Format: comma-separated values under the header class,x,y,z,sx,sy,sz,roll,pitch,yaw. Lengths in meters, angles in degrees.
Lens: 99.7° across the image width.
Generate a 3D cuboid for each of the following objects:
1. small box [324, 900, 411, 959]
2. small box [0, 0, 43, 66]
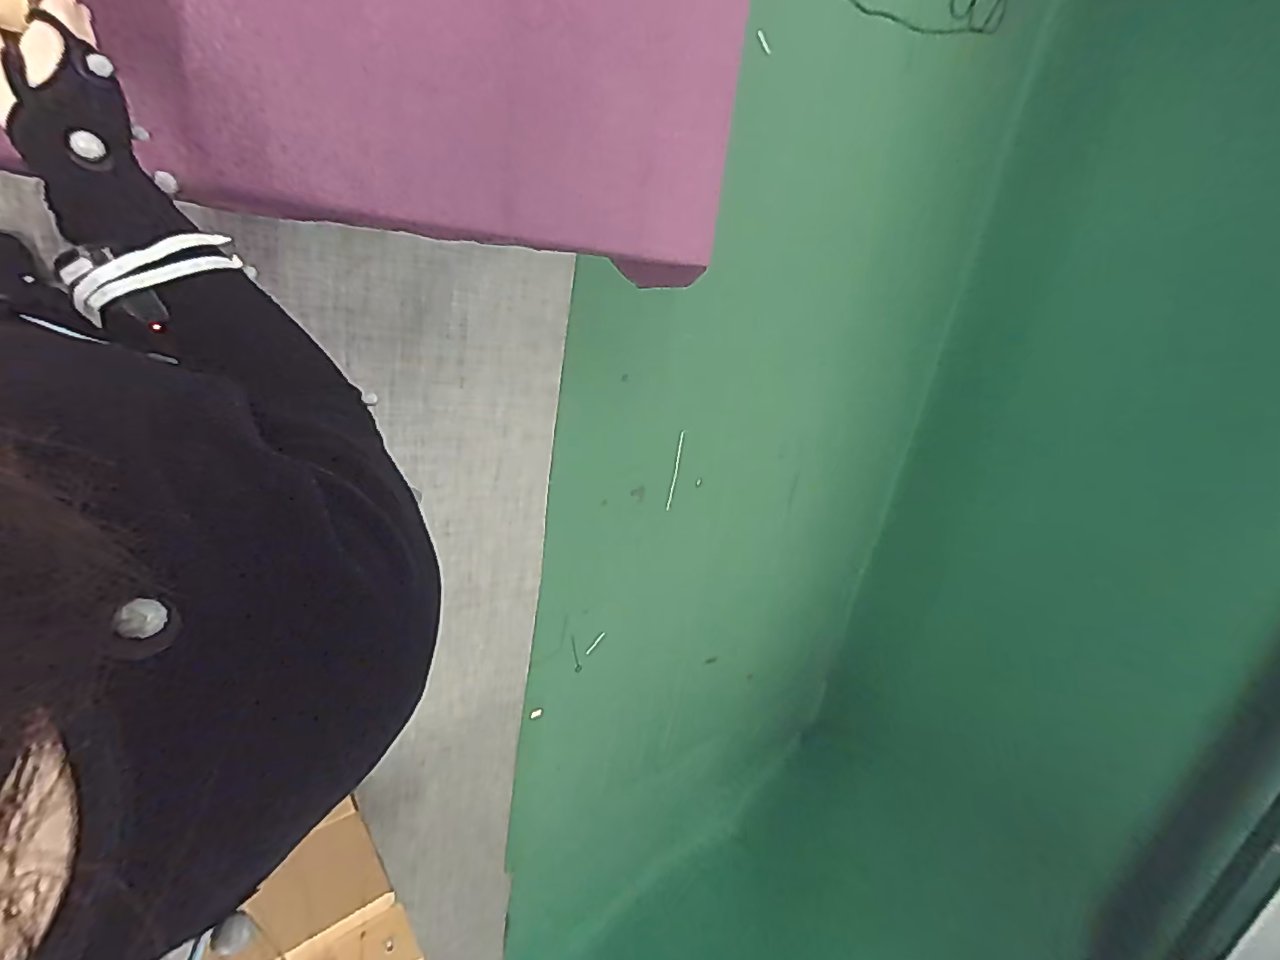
class,x,y,z,sx,sy,sz,roll,pitch,yaw
small box,-0.717,1.257,1.416,0.168,0.176,0.179,-7,116,-43
small box,-0.505,-0.389,0.331,0.168,0.176,0.179,-10,118,-43
